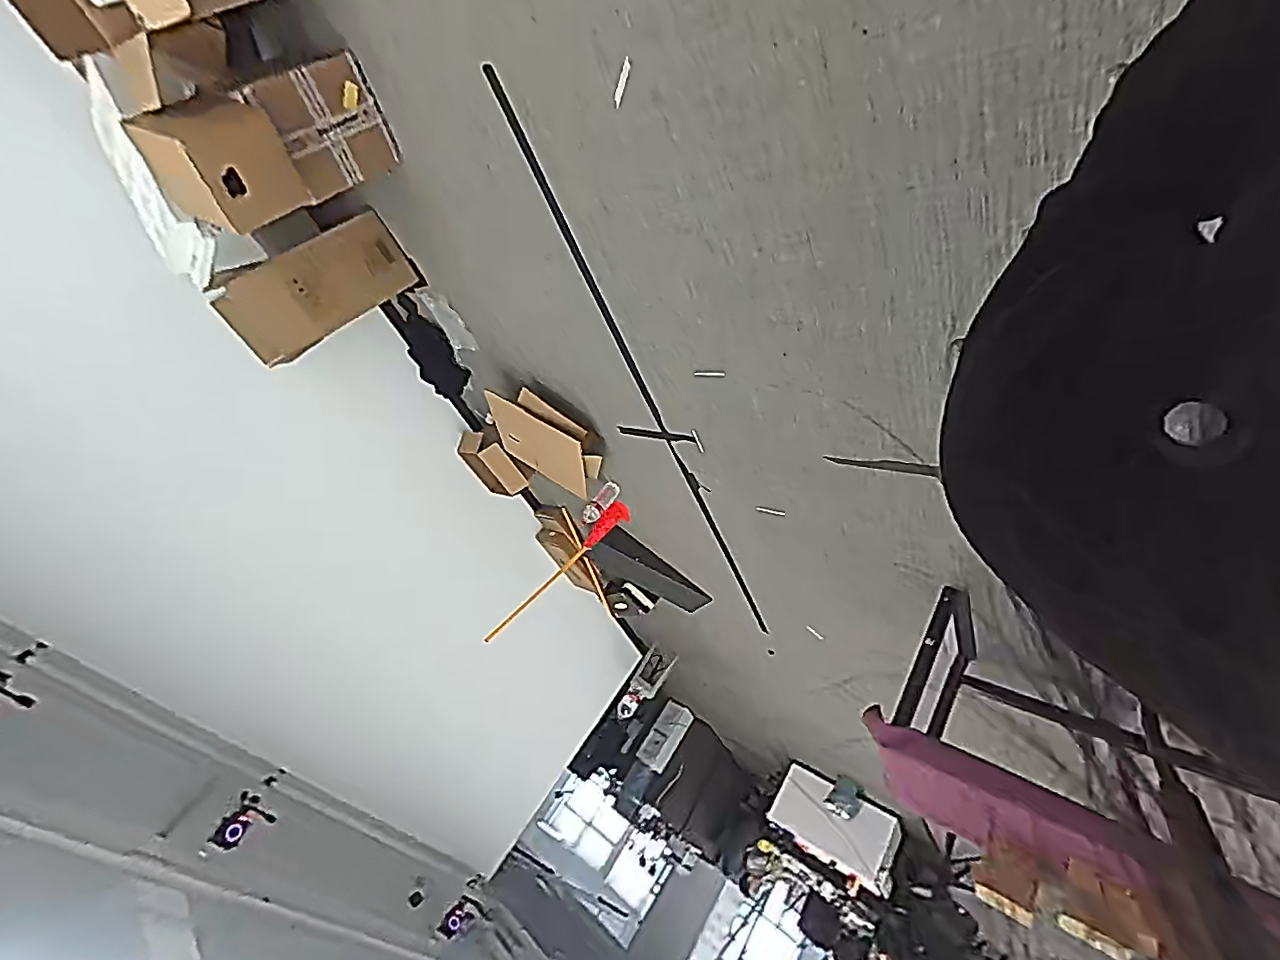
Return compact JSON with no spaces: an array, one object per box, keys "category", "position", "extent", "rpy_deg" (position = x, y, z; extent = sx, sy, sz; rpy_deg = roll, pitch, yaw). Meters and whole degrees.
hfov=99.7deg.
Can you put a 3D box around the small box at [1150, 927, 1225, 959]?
[{"category":"small box","position":[1.599,1.449,1.565],"extent":[0.168,0.176,0.179],"rpy_deg":[12,139,44]}]

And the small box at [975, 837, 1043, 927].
[{"category":"small box","position":[1.284,1.393,1.880],"extent":[0.168,0.176,0.179],"rpy_deg":[11,140,43]}]

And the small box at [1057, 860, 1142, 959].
[{"category":"small box","position":[1.365,1.277,1.608],"extent":[0.168,0.176,0.179],"rpy_deg":[12,143,43]}]
